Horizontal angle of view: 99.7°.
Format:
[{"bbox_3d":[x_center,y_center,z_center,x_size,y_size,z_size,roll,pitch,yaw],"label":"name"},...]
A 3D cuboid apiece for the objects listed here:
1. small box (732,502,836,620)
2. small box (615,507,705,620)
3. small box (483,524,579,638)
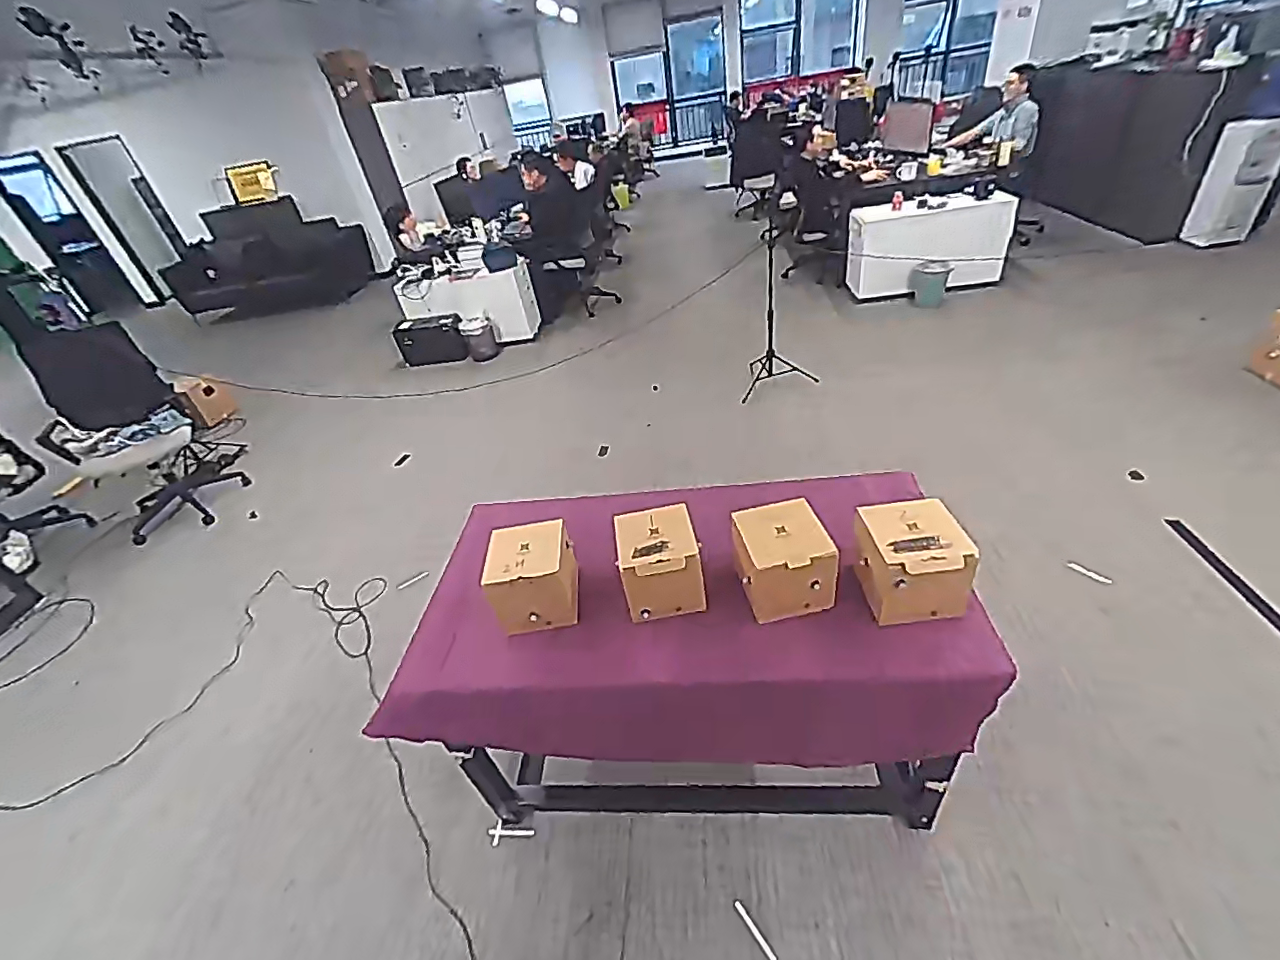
[{"bbox_3d":[0.301,0.177,1.149,0.168,0.176,0.179,-12,35,-2],"label":"small box"},{"bbox_3d":[0.043,0.190,1.197,0.168,0.176,0.179,-11,35,0],"label":"small box"},{"bbox_3d":[-0.237,0.226,1.220,0.168,0.176,0.179,-10,36,2],"label":"small box"}]
